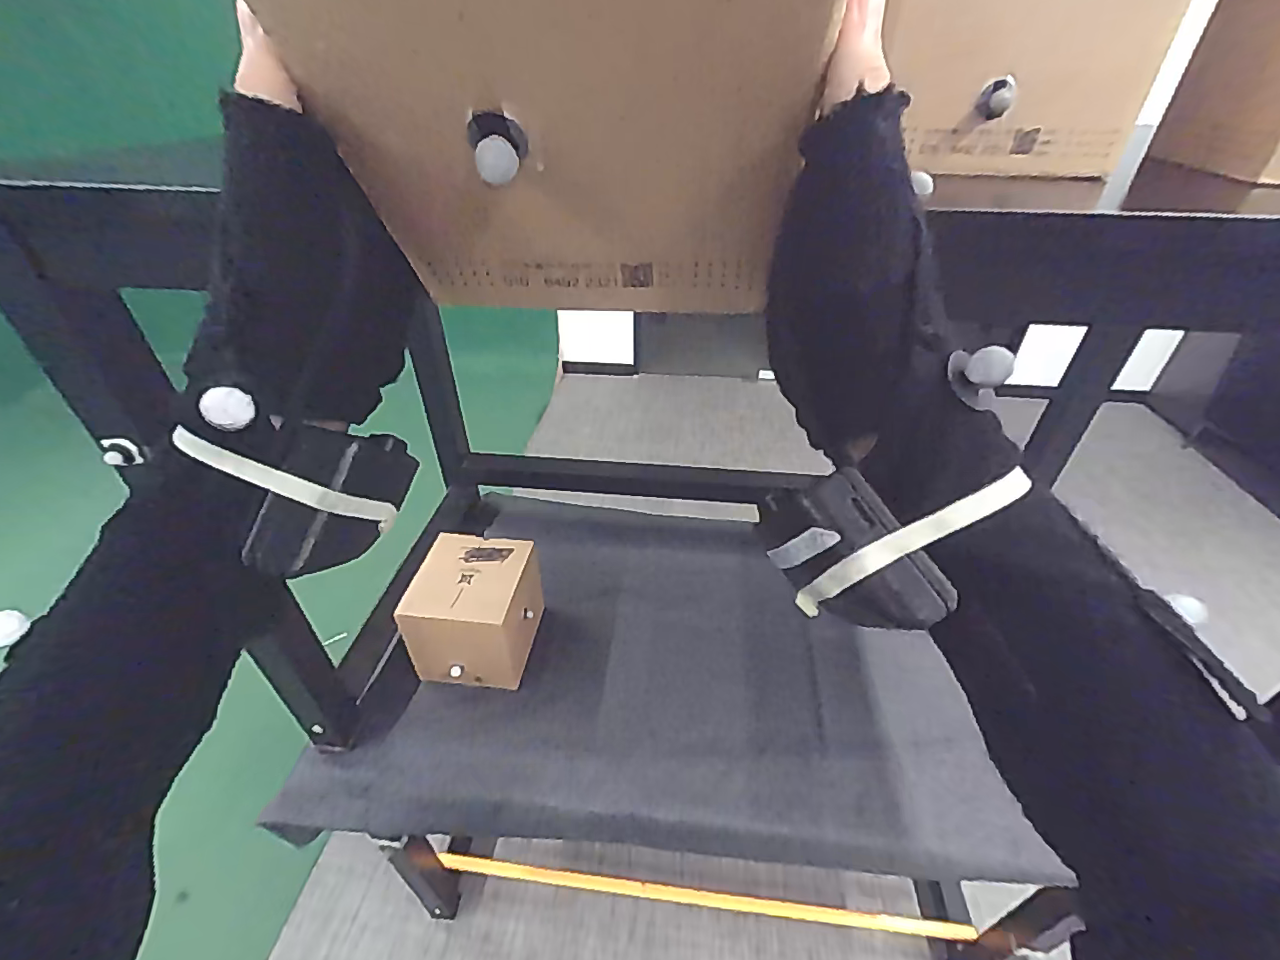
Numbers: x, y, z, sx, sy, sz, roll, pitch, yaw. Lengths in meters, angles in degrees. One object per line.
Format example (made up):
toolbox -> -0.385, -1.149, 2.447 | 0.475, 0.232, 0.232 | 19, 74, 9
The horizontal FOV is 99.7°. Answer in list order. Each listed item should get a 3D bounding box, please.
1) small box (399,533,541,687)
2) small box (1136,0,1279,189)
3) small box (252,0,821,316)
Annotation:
small box -> -0.267, 0.212, 0.898 | 0.168, 0.176, 0.179 | 4, 37, 5
small box -> 0.481, -0.281, 0.344 | 0.168, 0.176, 0.179 | 11, 38, 14
small box -> -0.019, -0.190, 0.233 | 0.168, 0.176, 0.179 | 2, 69, 4
